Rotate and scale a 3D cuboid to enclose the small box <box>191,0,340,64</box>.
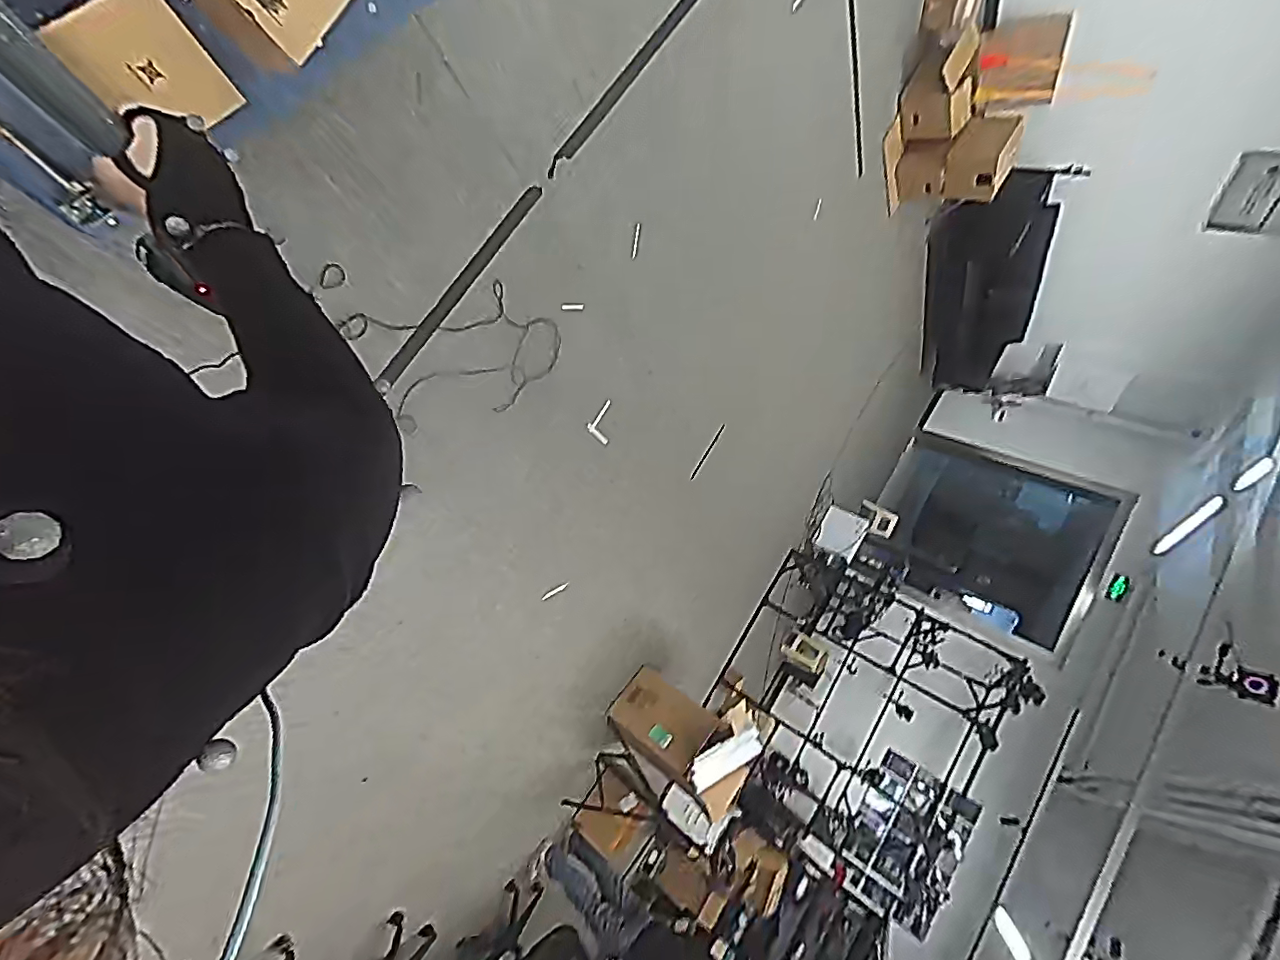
[{"bbox_3d":[-0.627,-0.819,0.878,0.179,0.176,0.168,-60,147,-7],"label":"small box"}]

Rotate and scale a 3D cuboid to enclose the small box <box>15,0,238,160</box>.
[{"bbox_3d":[-0.772,-0.615,0.816,0.179,0.176,0.168,-53,146,-17],"label":"small box"}]
